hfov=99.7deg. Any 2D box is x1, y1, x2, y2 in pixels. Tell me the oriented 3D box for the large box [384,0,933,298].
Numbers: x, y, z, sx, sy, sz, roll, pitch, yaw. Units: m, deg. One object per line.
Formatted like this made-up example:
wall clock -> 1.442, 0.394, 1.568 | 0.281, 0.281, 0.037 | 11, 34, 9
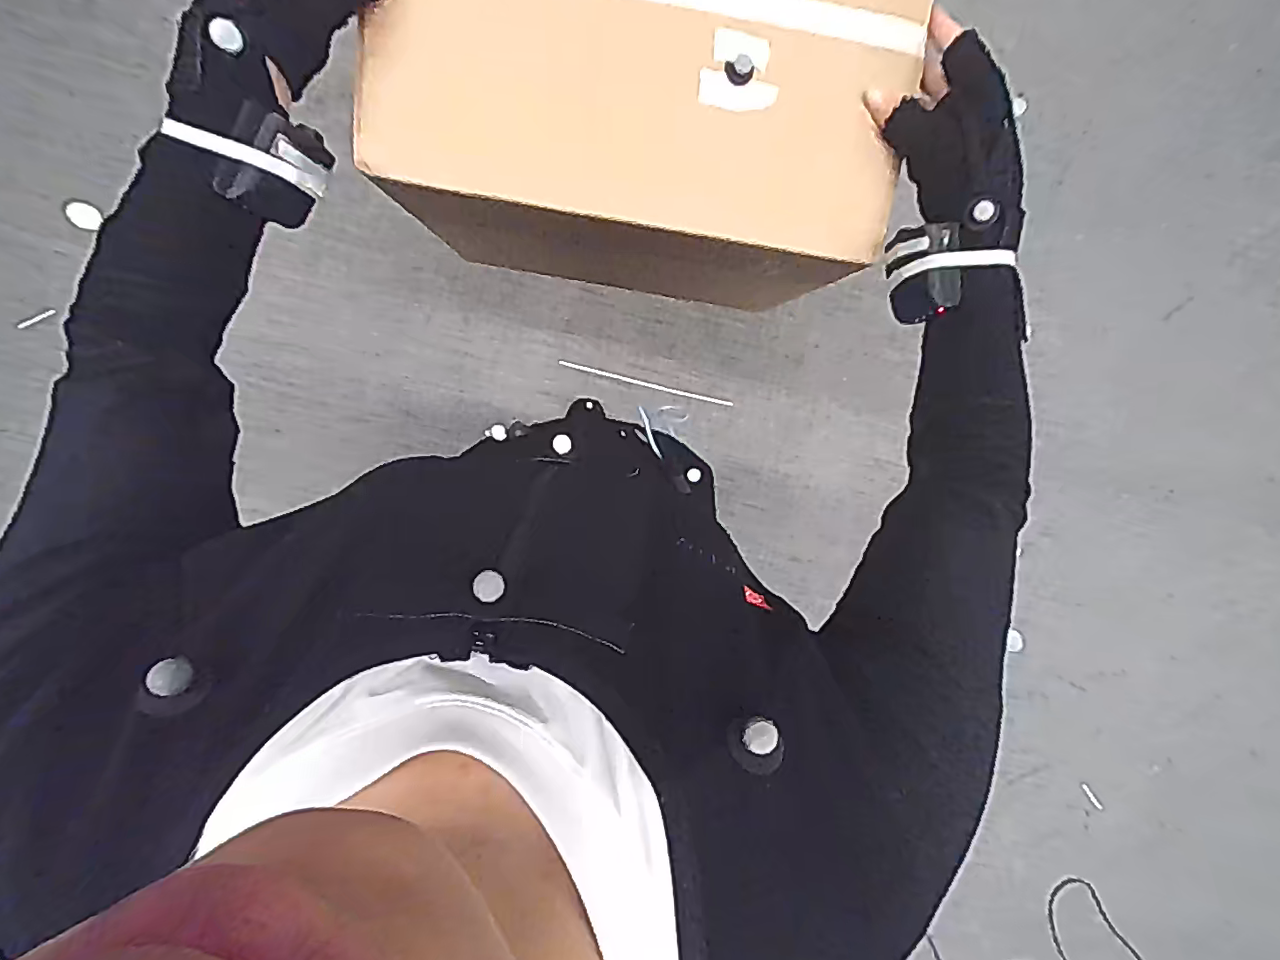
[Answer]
large box -> 0.009, -0.388, 0.542 | 0.408, 0.320, 0.320 | 7, 101, -6
